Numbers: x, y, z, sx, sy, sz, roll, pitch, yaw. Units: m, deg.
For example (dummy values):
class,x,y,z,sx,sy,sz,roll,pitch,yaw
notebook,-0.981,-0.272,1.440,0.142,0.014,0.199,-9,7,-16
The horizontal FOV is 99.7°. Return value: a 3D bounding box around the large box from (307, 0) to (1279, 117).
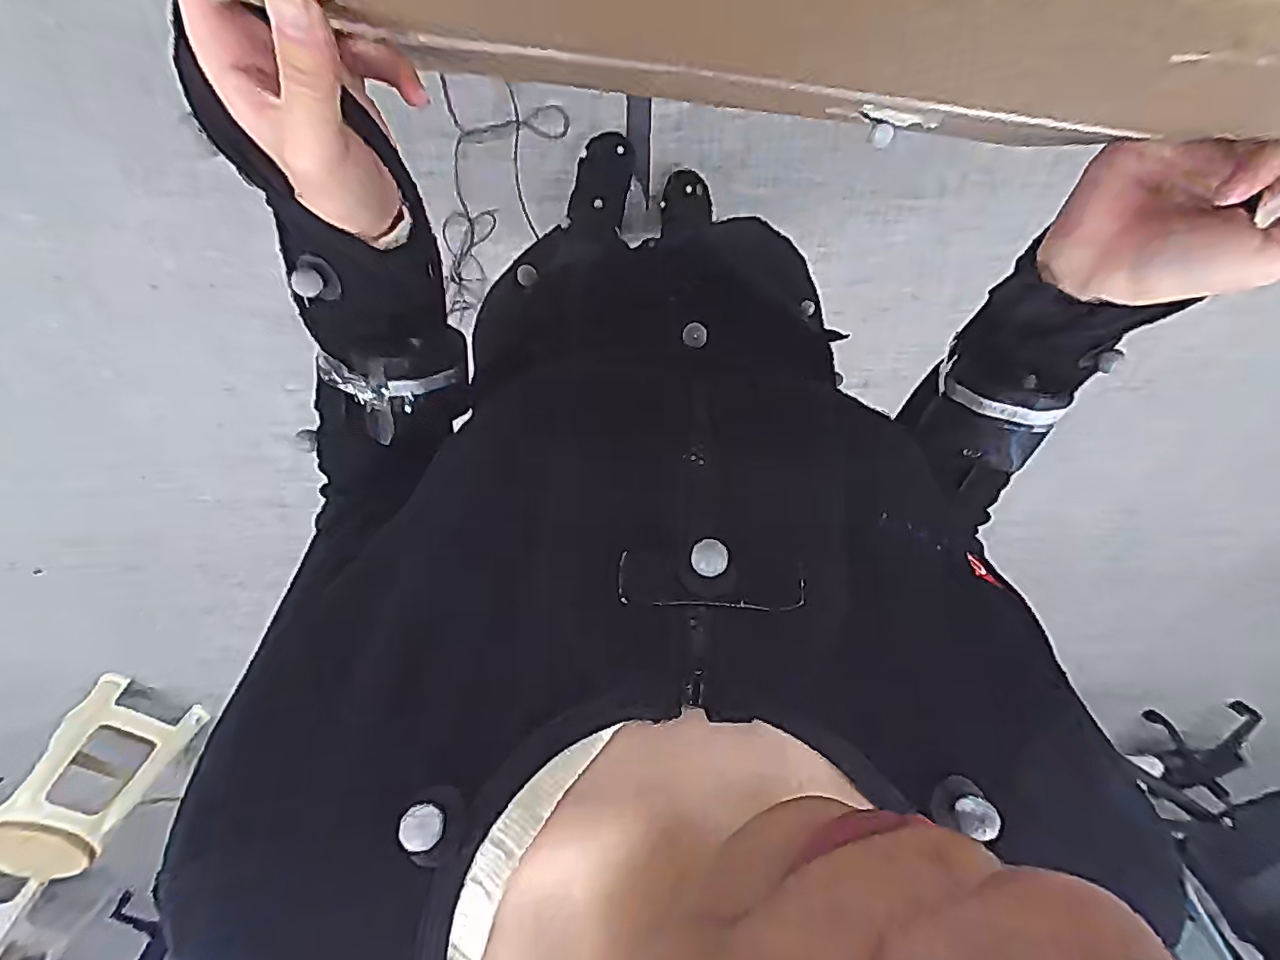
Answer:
class,x,y,z,sx,sy,sz,roll,pitch,yaw
large box,0.075,-0.306,0.139,0.408,0.320,0.320,3,122,-4
